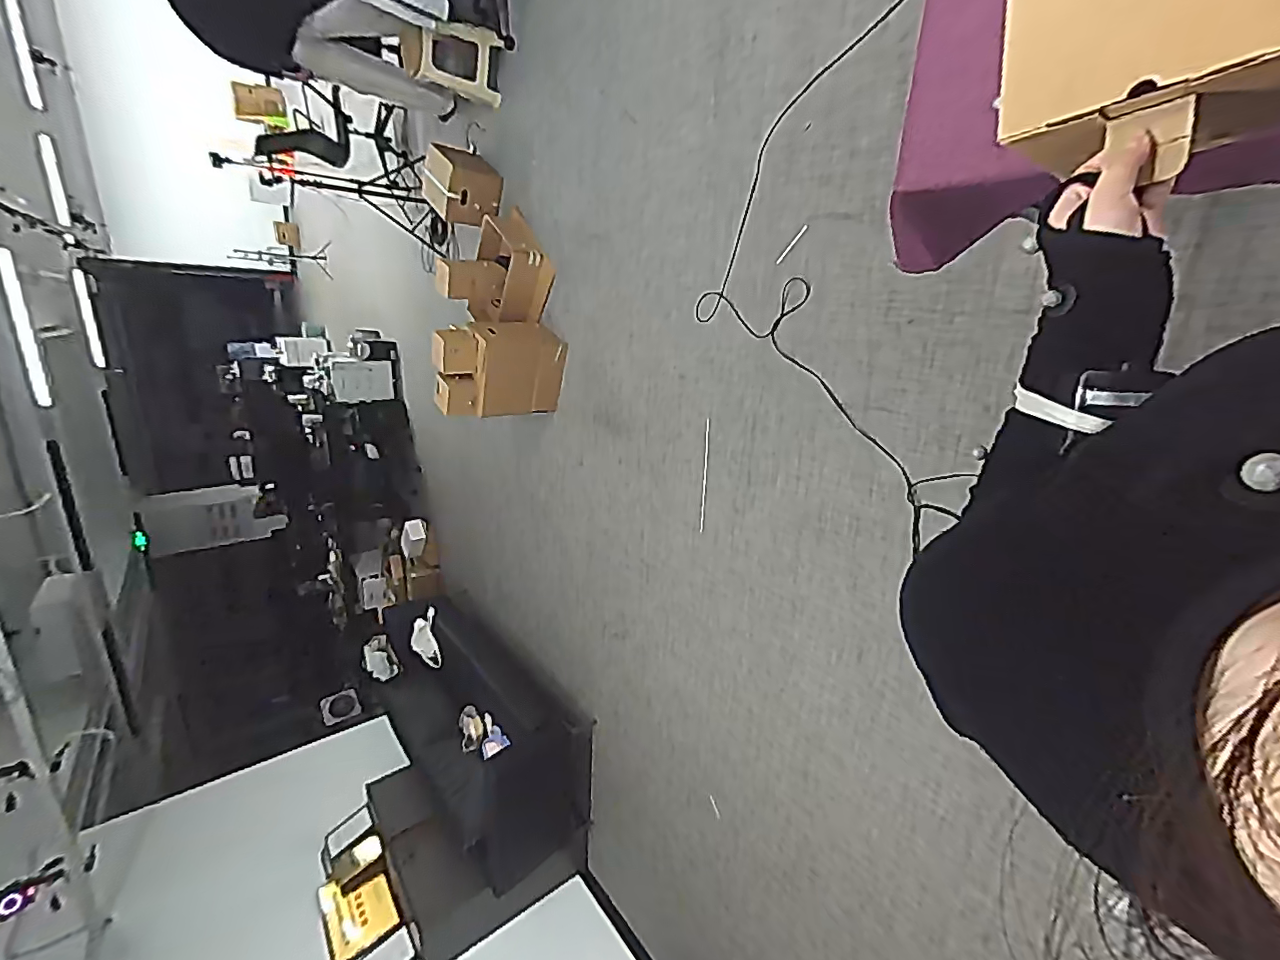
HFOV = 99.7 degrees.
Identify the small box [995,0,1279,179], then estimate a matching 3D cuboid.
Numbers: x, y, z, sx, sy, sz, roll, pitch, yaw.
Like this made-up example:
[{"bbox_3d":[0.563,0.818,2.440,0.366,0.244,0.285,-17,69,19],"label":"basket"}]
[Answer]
[{"bbox_3d":[0.391,-0.352,0.400,0.168,0.176,0.179,11,108,50],"label":"small box"}]
